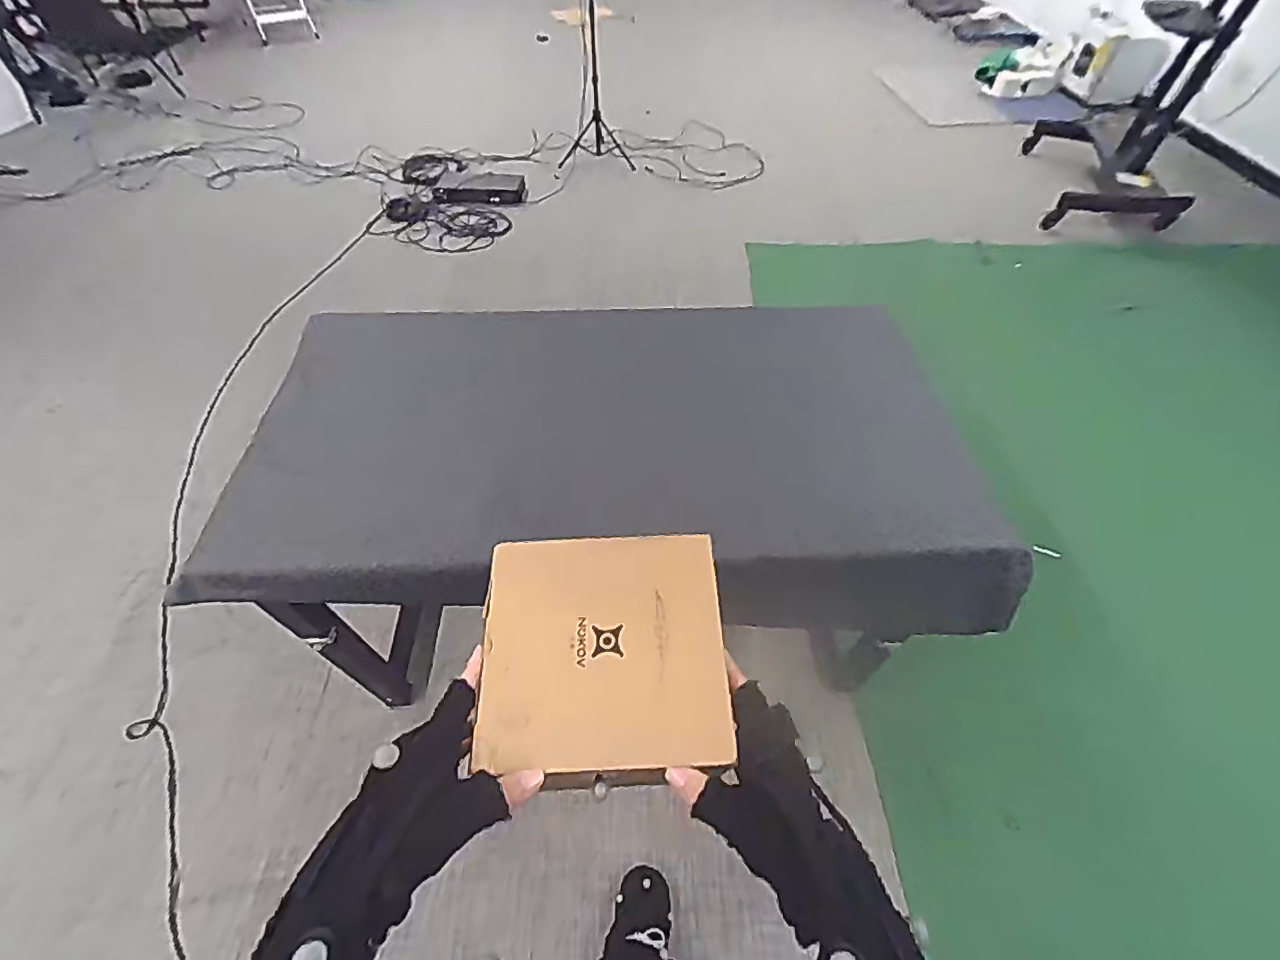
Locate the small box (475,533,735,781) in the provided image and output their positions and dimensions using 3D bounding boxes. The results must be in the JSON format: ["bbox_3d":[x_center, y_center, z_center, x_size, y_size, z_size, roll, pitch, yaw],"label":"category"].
[{"bbox_3d":[-0.026,0.158,0.465,0.179,0.176,0.168,-2,59,-3],"label":"small box"}]
